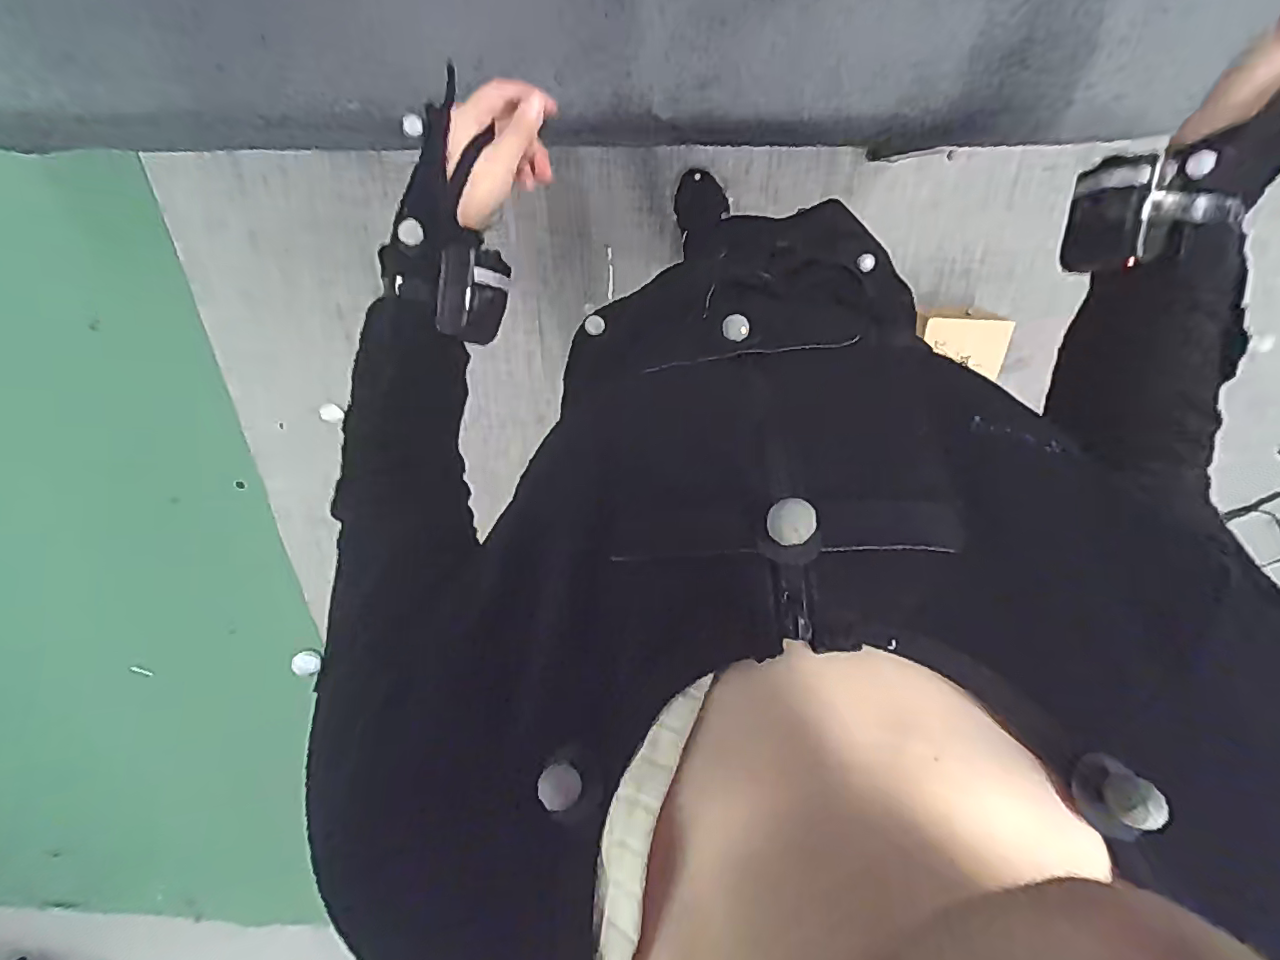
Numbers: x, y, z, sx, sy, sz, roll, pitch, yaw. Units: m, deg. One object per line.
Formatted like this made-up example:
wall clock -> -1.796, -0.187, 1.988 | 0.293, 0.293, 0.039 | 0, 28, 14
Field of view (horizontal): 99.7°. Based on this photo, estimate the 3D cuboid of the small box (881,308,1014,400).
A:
small box -> 0.658, -0.279, 1.180 | 0.179, 0.176, 0.168 | 1, 116, 1
